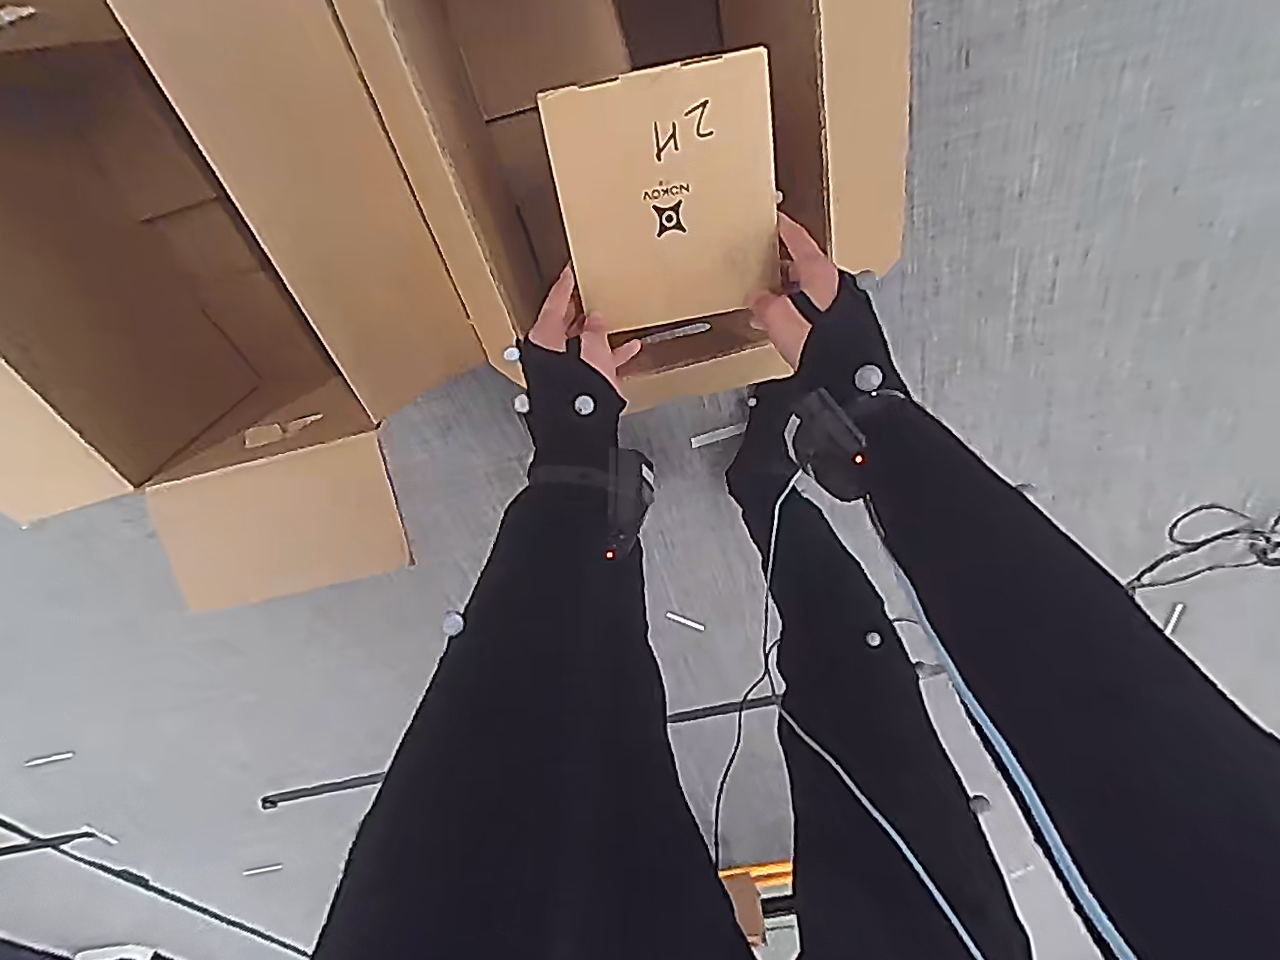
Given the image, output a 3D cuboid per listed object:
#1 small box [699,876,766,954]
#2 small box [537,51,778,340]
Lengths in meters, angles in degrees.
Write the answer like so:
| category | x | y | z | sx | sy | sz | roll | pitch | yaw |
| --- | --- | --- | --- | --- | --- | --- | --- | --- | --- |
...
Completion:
| category | x | y | z | sx | sy | sz | roll | pitch | yaw |
| --- | --- | --- | --- | --- | --- | --- | --- | --- | --- |
| small box | 0.308 | 1.462 | 1.820 | 0.179 | 0.176 | 0.168 | -15 | 125 | 10 |
| small box | 0.019 | -0.242 | 0.482 | 0.168 | 0.176 | 0.179 | -10 | 117 | 2 |
